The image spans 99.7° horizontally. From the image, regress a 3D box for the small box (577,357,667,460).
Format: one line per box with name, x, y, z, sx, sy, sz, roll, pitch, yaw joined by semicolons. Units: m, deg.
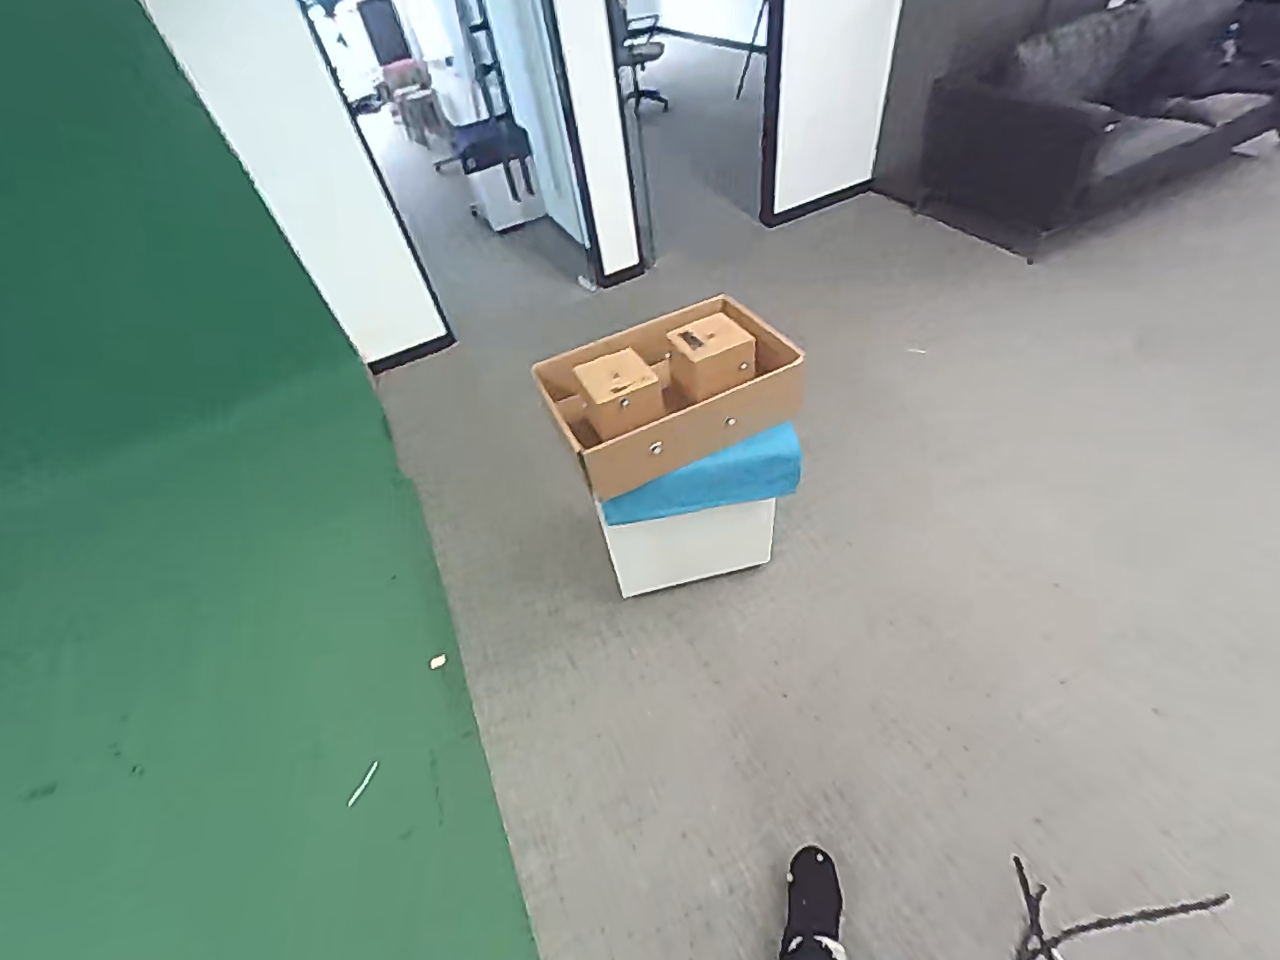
small box;-0.044;-0.183;1.388;0.168;0.176;0.179;-24;46;-12
